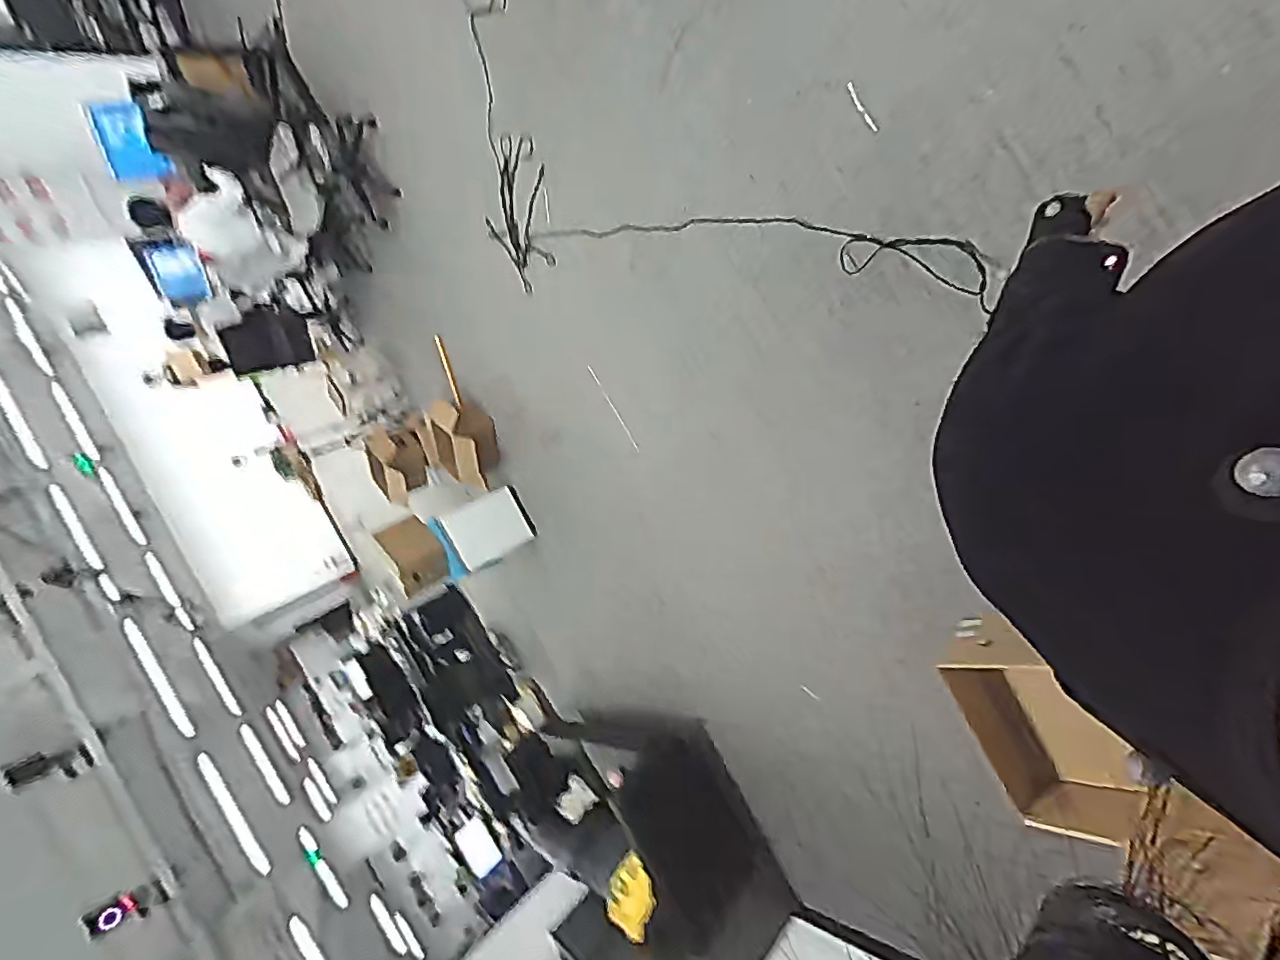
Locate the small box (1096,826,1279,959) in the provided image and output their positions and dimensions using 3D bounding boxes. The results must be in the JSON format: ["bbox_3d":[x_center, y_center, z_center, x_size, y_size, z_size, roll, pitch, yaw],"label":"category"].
[{"bbox_3d":[0.728,0.586,0.676,0.179,0.176,0.168,61,146,1],"label":"small box"}]
